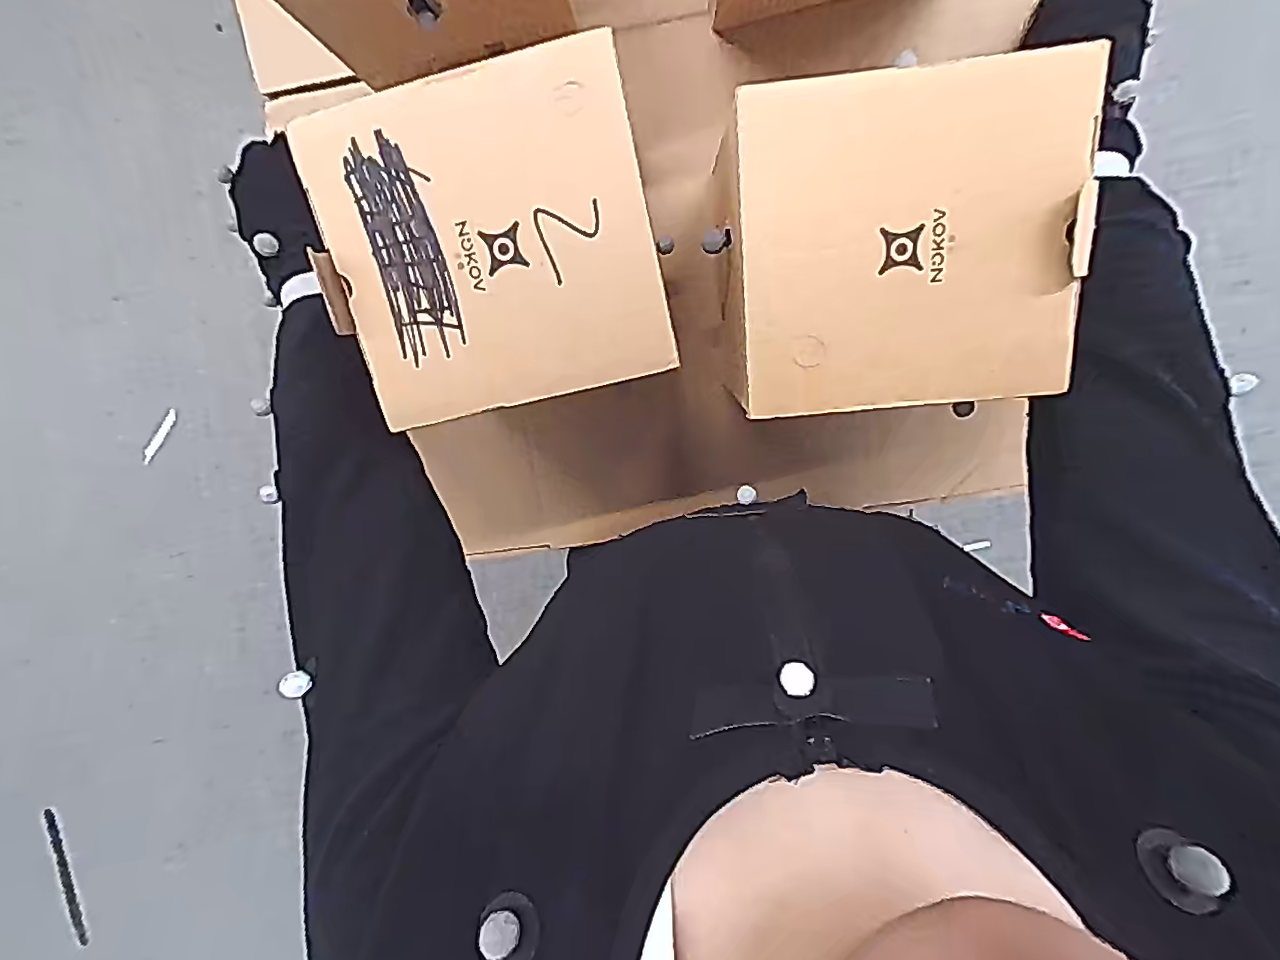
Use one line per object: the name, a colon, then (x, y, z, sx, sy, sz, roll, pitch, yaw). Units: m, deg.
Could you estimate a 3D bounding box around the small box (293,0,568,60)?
small box: (-0.146, -0.383, 0.311, 0.168, 0.176, 0.179, -8, 102, 4)
